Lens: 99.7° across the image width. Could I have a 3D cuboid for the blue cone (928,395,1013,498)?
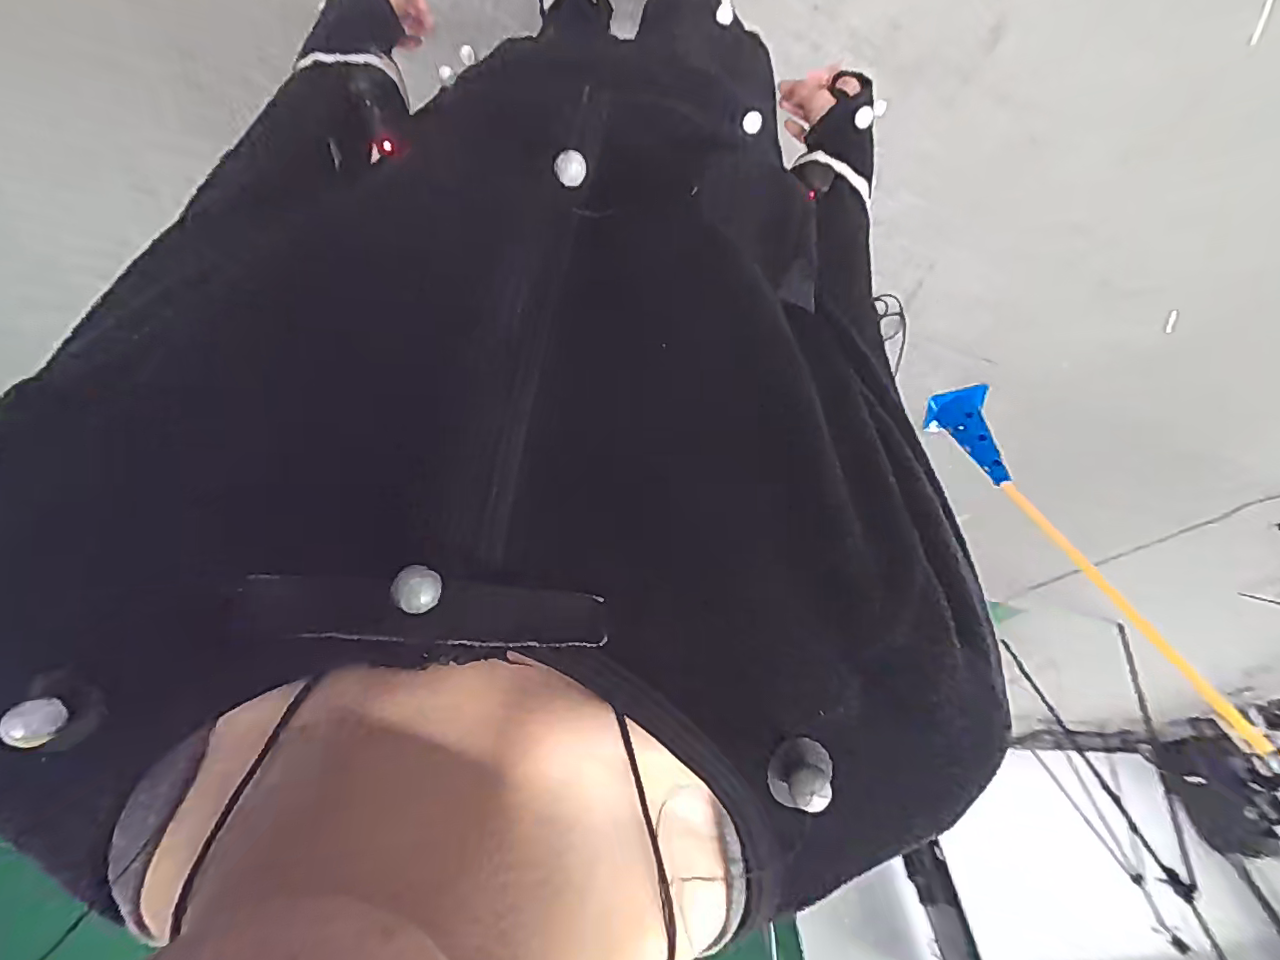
[{"bbox_3d":[1.165,-0.101,1.855,0.193,0.380,0.192,-15,140,10],"label":"blue cone"}]
